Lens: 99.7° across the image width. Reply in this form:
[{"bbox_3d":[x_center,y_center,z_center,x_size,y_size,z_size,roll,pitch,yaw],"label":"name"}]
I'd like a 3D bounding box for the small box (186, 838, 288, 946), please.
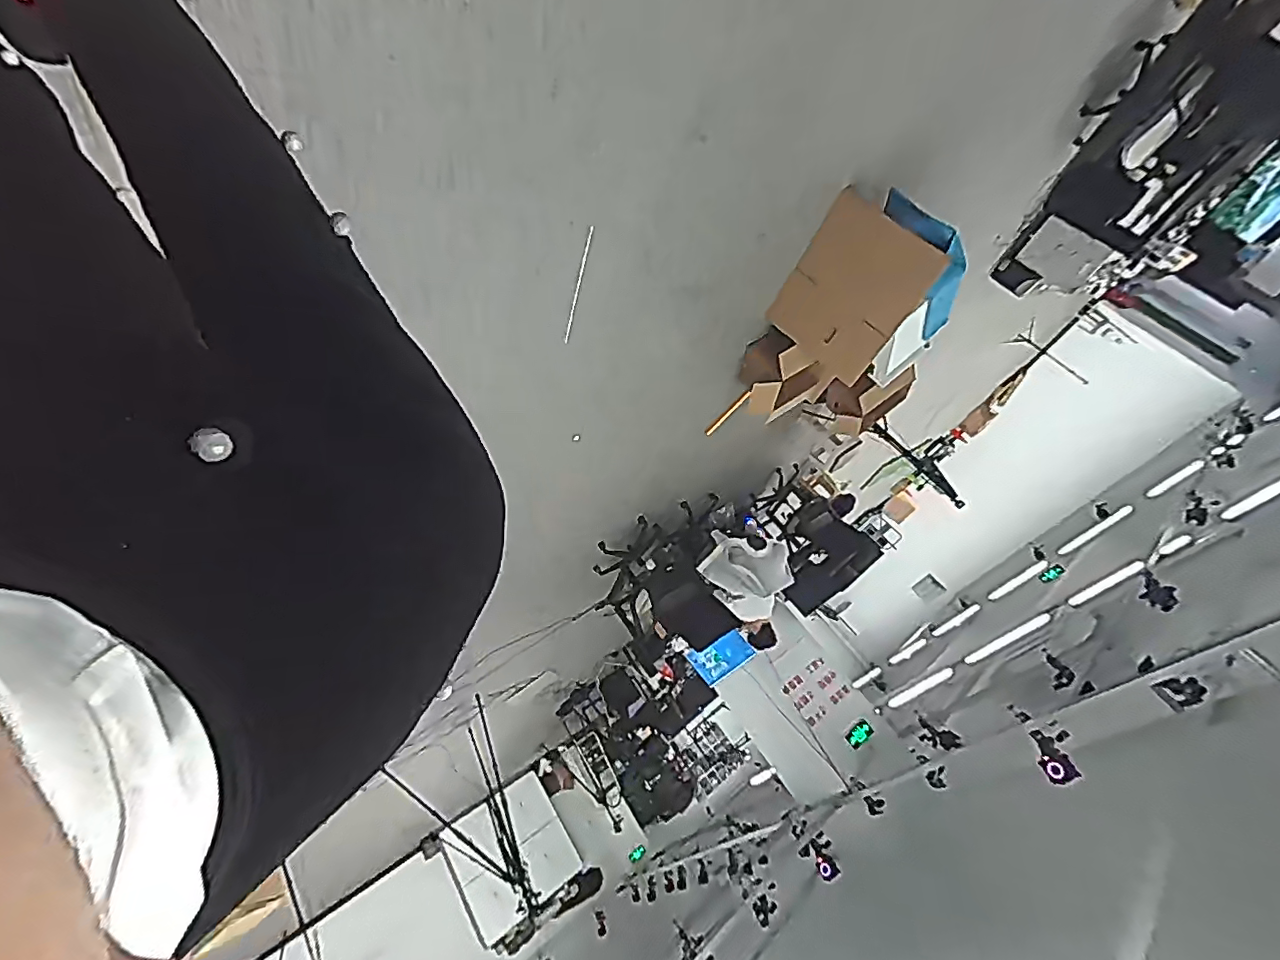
[{"bbox_3d":[-1.189,1.193,1.589,0.179,0.176,0.168,-43,155,9],"label":"small box"}]
